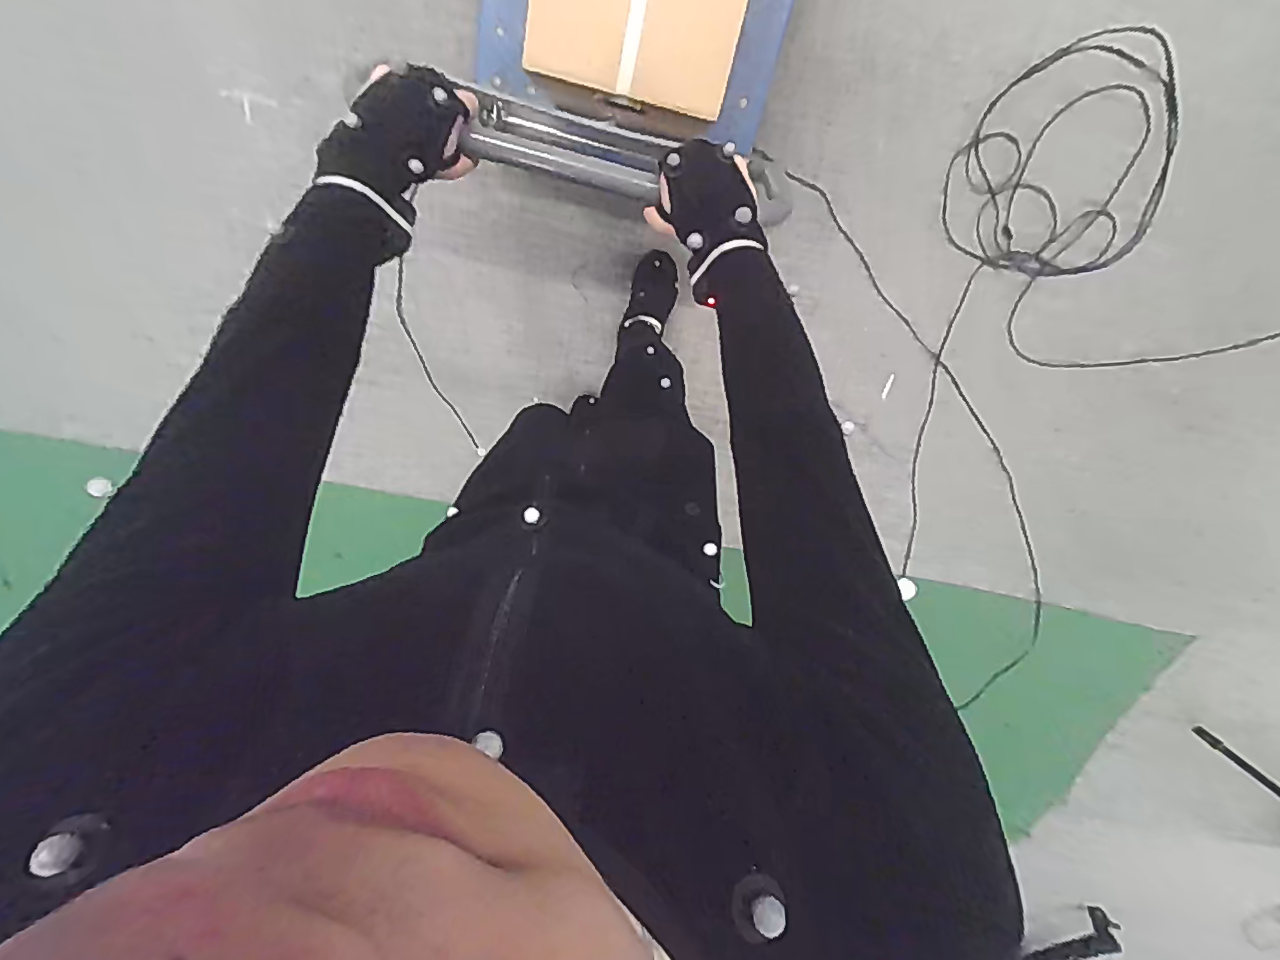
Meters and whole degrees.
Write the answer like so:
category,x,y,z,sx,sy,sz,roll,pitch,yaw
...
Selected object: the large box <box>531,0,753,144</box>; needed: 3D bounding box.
category,x,y,z,sx,sy,sz,roll,pitch,yaw
large box,0.024,-0.833,0.893,0.320,0.320,0.408,12,115,-6
